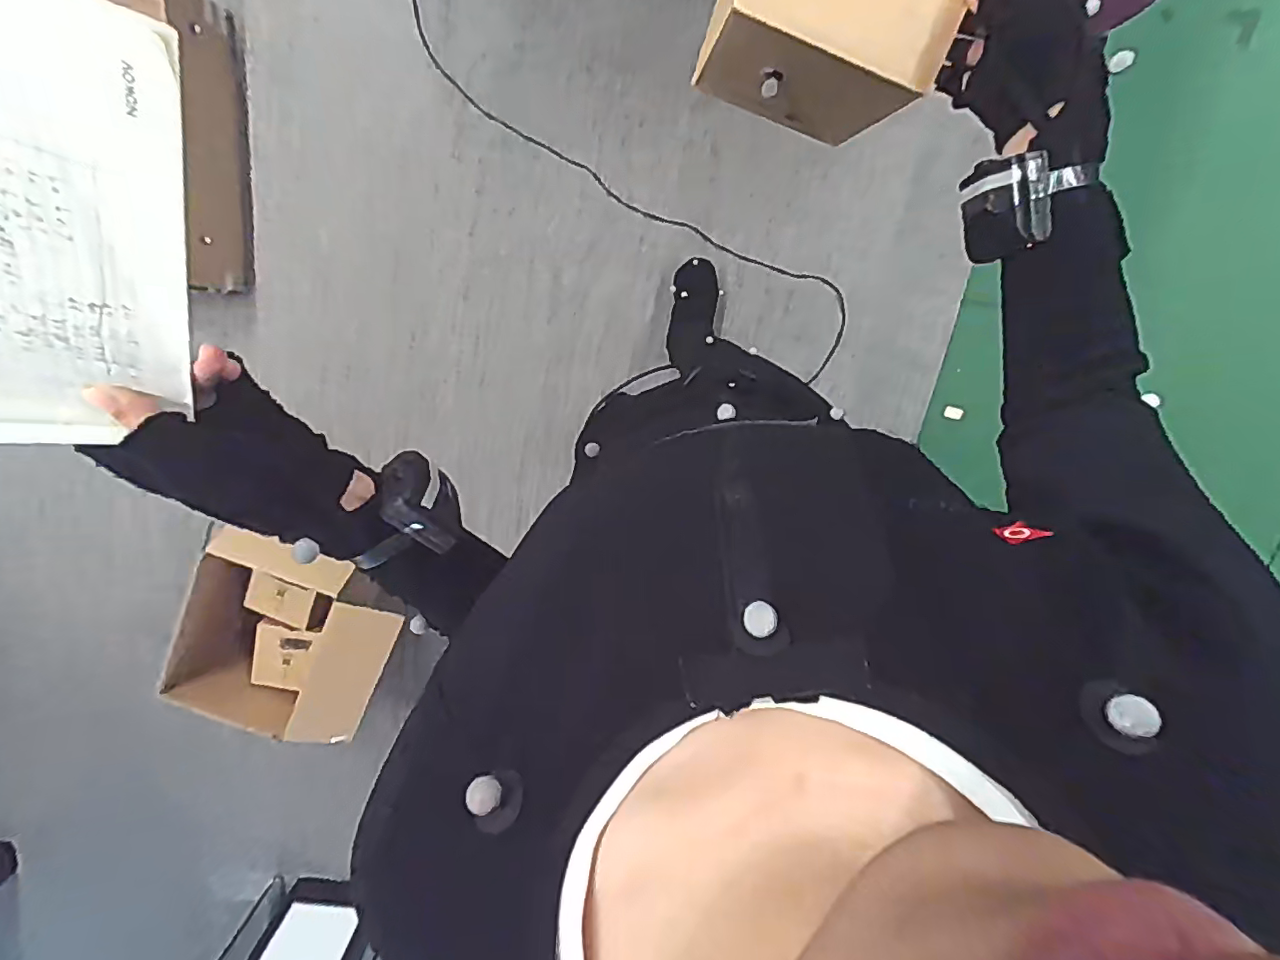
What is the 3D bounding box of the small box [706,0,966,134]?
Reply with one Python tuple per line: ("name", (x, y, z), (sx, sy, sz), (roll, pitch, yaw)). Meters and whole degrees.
("small box", (0.164, -0.423, 0.446), (0.168, 0.176, 0.179), (16, 106, -10))
